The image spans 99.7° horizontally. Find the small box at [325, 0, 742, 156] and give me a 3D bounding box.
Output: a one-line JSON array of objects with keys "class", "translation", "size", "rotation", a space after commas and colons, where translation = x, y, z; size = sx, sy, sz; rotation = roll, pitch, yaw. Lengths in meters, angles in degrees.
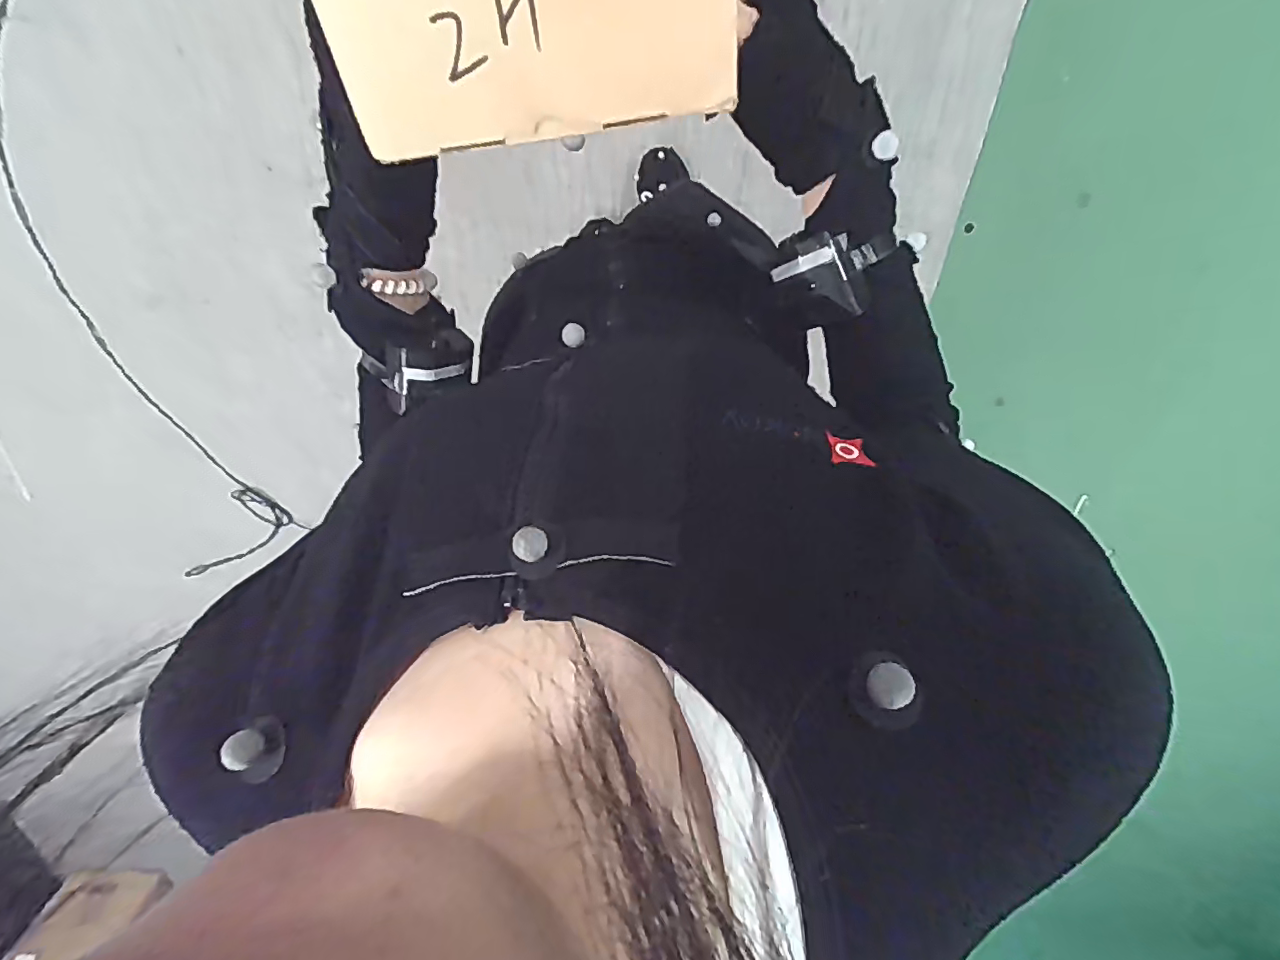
[{"class": "small box", "translation": [-0.049, -0.271, 0.252], "size": [0.168, 0.176, 0.179], "rotation": [-7, 128, 3]}]
